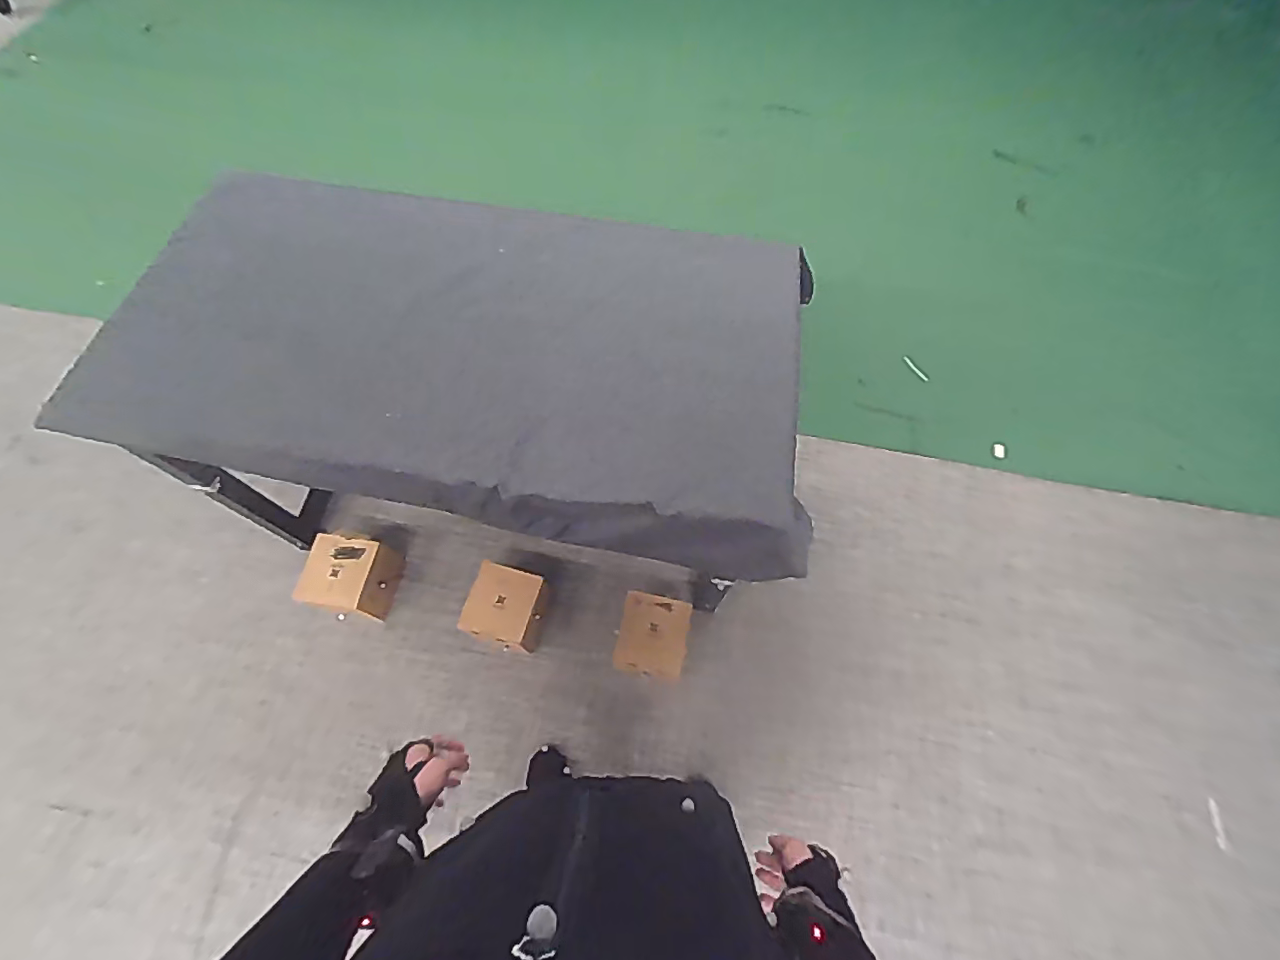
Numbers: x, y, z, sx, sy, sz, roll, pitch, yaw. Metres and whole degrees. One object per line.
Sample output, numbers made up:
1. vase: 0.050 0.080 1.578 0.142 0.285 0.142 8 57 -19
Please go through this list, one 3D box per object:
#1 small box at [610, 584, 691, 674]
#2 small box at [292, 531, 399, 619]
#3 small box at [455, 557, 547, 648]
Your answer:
1. small box: 0.028 0.384 1.375 0.168 0.176 0.179 12 65 4
2. small box: -0.754 0.251 1.410 0.168 0.176 0.179 8 67 2
3. small box: -0.346 0.322 1.393 0.168 0.176 0.179 14 65 3
